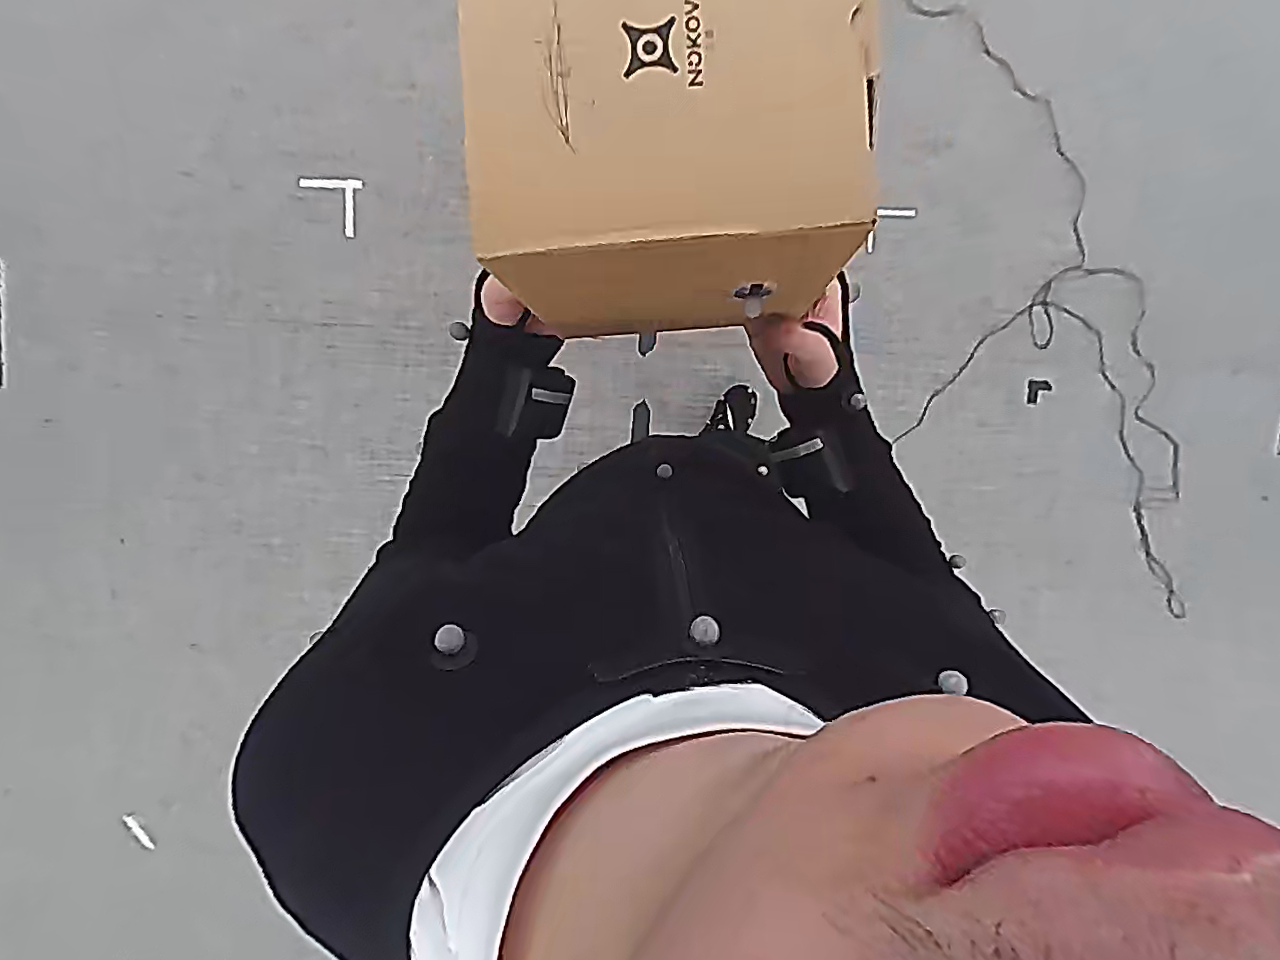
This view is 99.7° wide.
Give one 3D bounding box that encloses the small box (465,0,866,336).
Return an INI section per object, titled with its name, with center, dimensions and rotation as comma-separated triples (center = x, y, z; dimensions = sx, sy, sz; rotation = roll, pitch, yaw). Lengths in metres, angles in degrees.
[small box]
center = 0.016, -0.189, 0.319
dimensions = 0.179, 0.176, 0.168
rotation = -3, 92, 6
